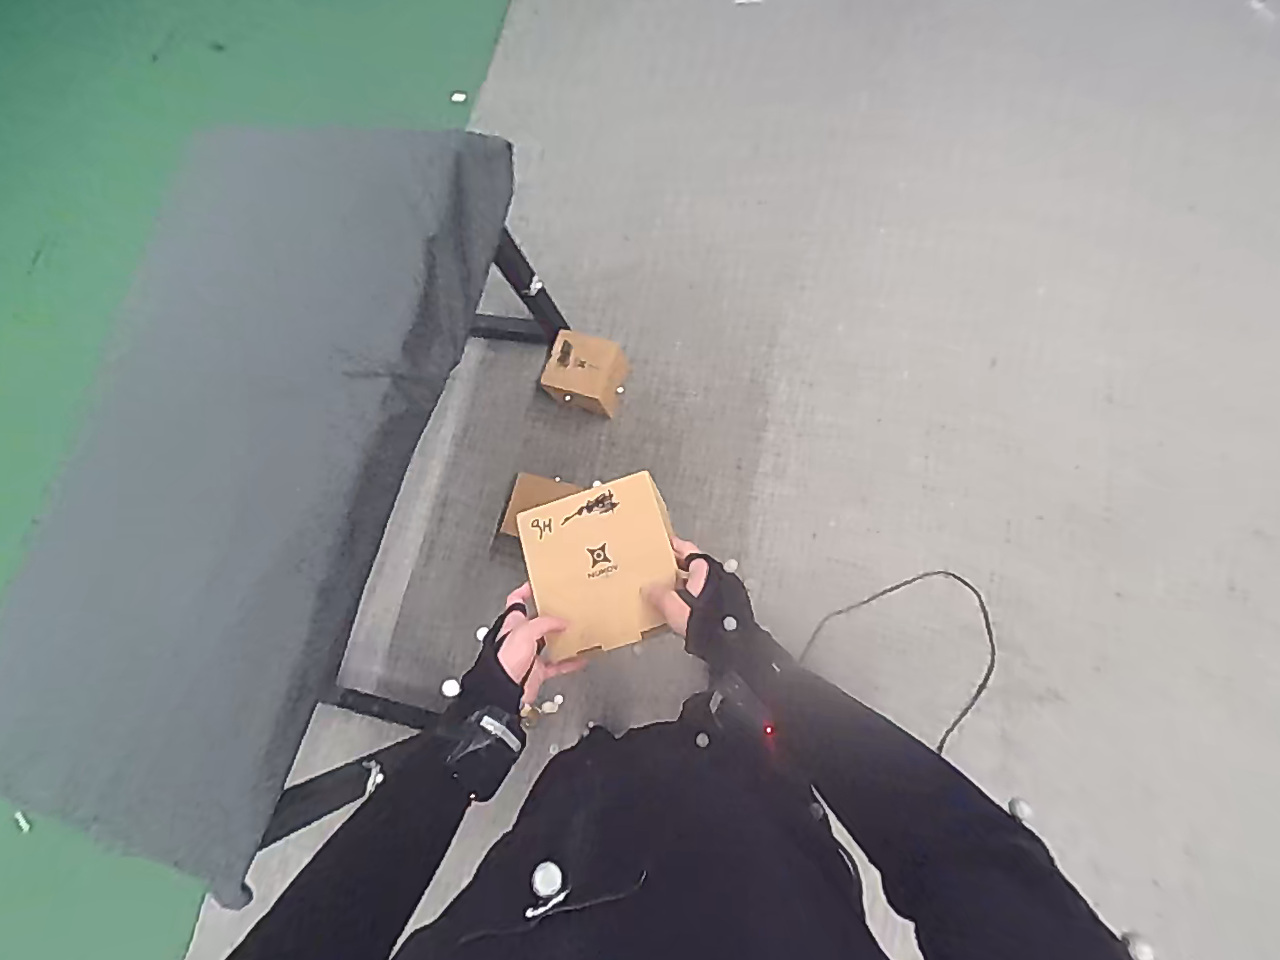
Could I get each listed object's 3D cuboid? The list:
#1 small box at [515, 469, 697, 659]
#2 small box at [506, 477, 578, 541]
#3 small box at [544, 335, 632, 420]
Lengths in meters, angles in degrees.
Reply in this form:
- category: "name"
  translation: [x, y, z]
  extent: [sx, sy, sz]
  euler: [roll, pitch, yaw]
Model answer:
- category: "small box"
  translation: [-0.032, 0.110, 0.675]
  extent: [0.168, 0.176, 0.179]
  euler: [-18, 72, 5]
- category: "small box"
  translation: [-0.226, 0.104, 1.455]
  extent: [0.179, 0.176, 0.168]
  euler: [12, 78, 16]
- category: "small box"
  translation: [-0.139, -0.283, 1.524]
  extent: [0.179, 0.176, 0.168]
  euler: [16, 81, 14]
